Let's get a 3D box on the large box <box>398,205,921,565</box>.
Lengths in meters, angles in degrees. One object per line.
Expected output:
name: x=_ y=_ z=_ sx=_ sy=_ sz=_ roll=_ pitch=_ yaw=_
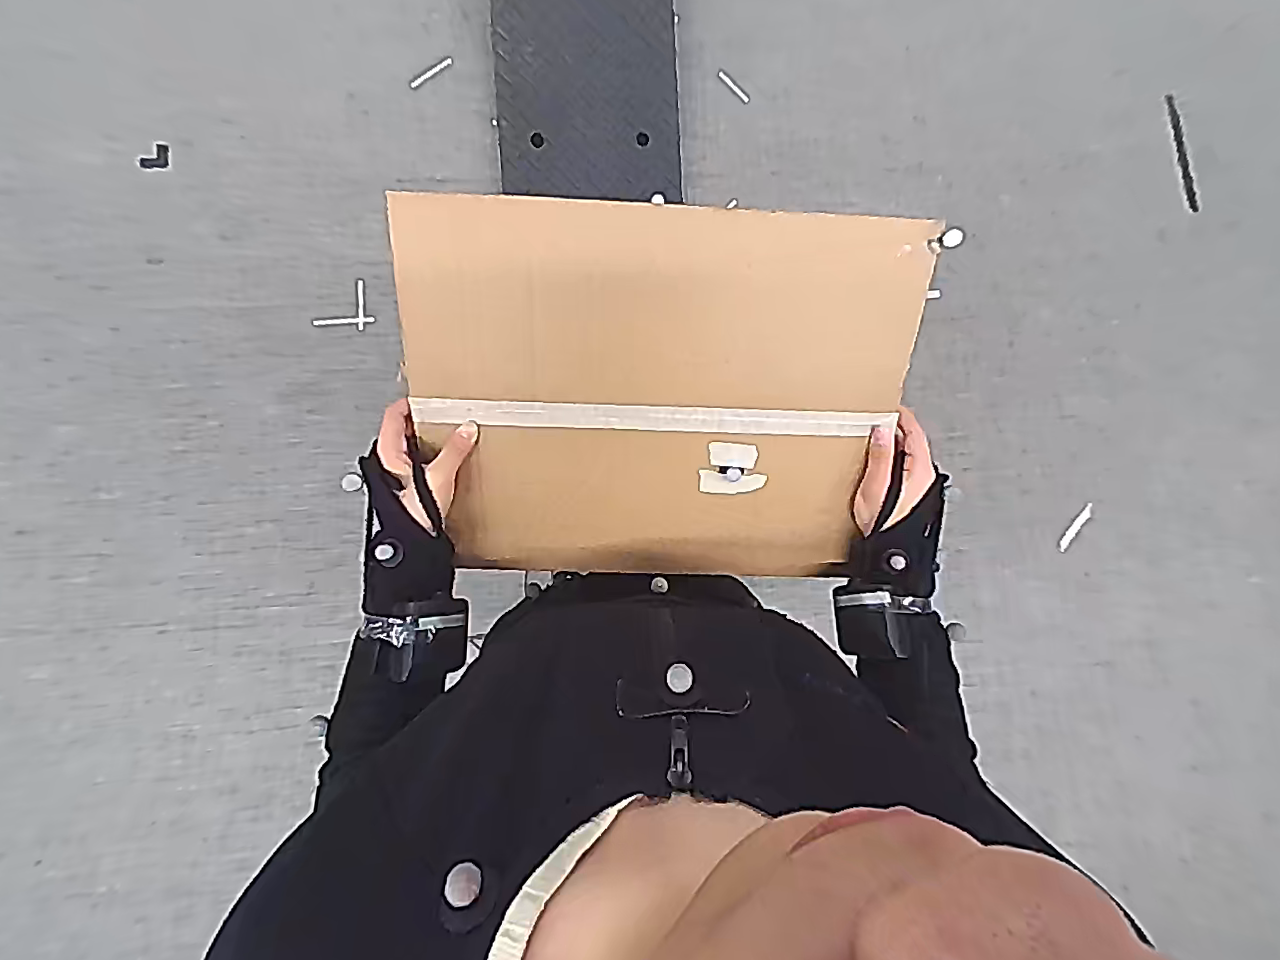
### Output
large box: x=0.007 y=-0.119 z=0.600 sx=0.408 sy=0.320 sz=0.320 roll=1 pitch=115 yaw=-4
